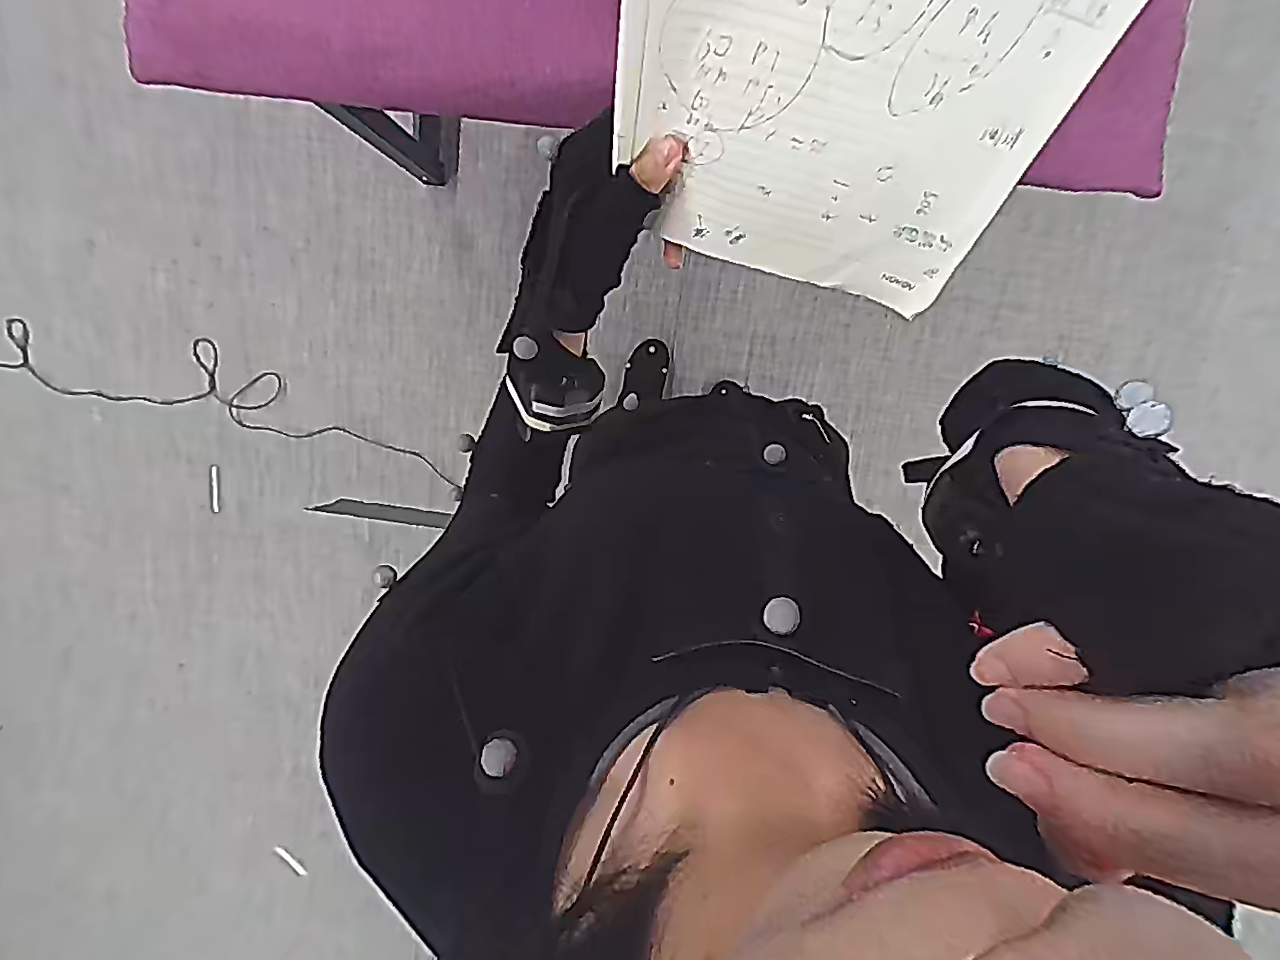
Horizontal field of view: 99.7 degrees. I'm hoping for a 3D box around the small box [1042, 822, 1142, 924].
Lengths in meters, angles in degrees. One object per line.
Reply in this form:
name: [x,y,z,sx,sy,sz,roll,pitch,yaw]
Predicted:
small box: [1.373,1.195,1.652,0.168,0.176,0.179,-15,101,5]
